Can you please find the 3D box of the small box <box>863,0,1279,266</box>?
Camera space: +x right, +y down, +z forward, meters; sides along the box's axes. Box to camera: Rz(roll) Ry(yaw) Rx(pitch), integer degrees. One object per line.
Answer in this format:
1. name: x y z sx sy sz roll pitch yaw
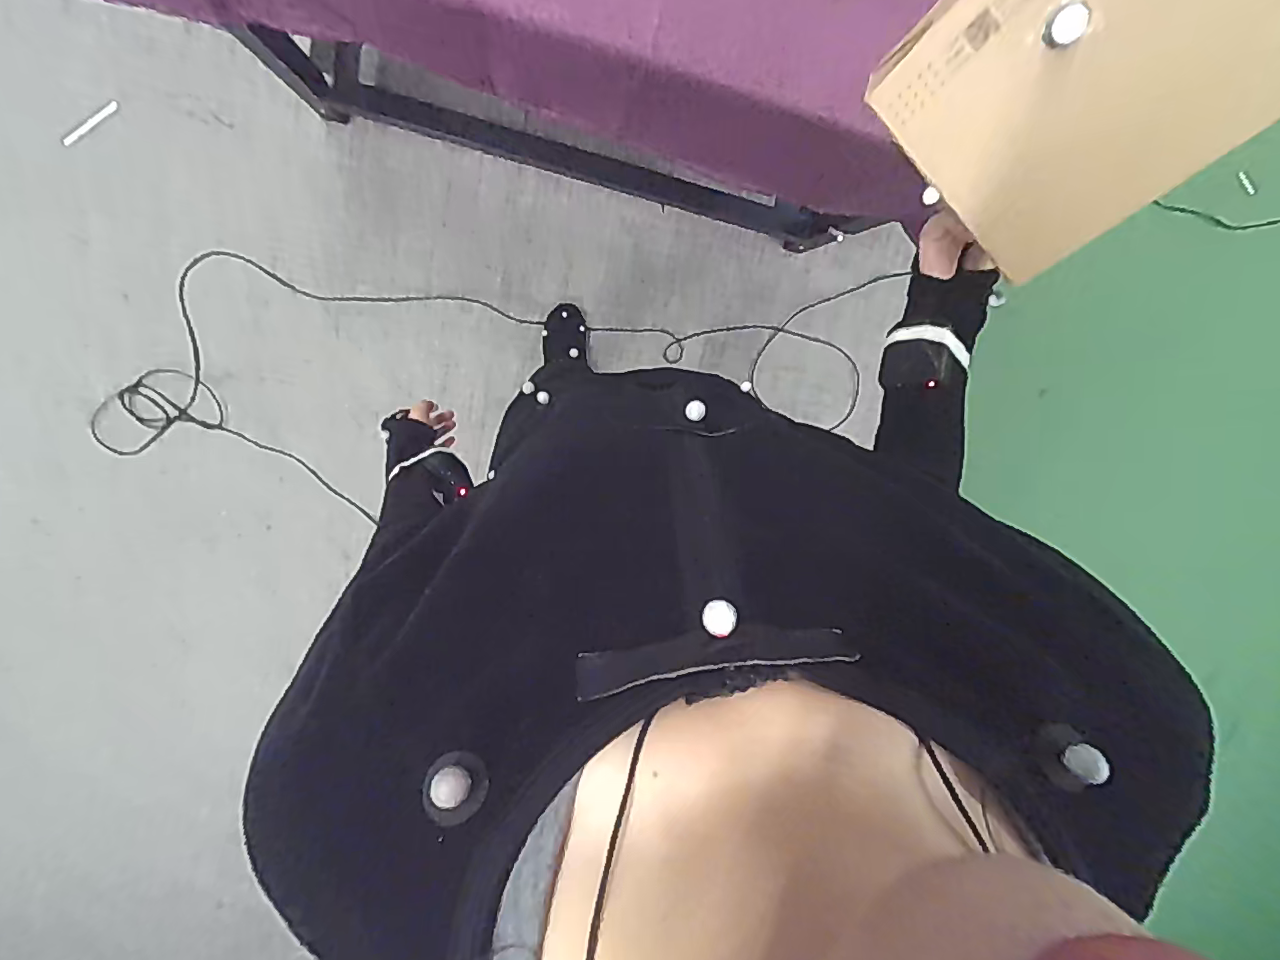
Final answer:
1. small box: 0.271 -0.286 0.359 0.176 0.179 0.168 42 133 -12
